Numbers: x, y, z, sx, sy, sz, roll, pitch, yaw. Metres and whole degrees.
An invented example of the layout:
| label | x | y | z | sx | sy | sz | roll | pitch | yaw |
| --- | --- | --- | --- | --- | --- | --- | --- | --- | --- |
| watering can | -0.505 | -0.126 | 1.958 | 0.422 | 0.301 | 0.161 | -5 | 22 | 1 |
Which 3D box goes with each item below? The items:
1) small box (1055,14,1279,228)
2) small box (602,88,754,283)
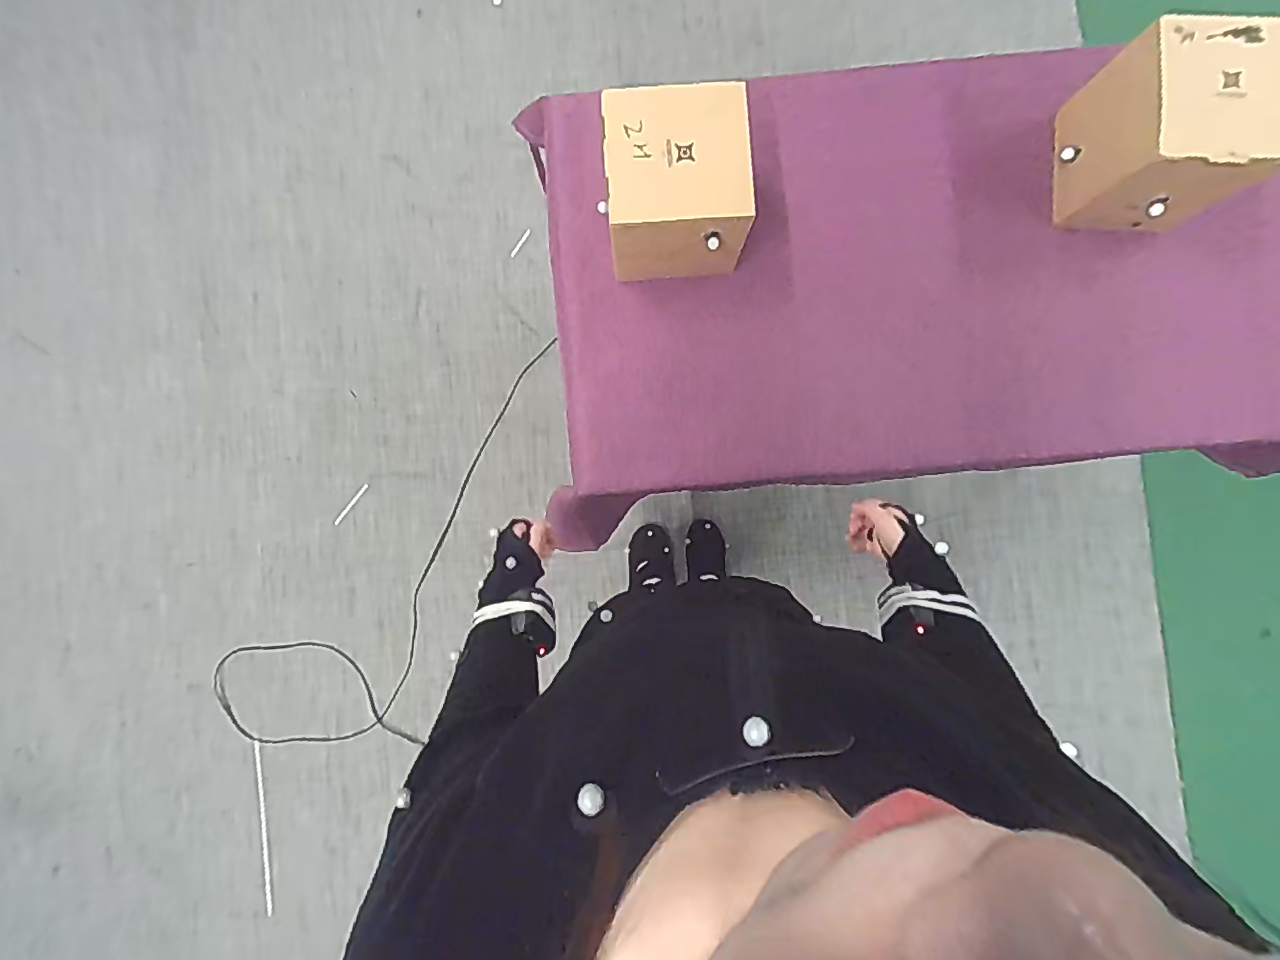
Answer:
| label | x | y | z | sx | sy | sz | roll | pitch | yaw |
| --- | --- | --- | --- | --- | --- | --- | --- | --- | --- |
| small box | 0.685 | -0.453 | 0.708 | 0.168 | 0.176 | 0.179 | 3 | 88 | 1 |
| small box | 0.045 | -0.379 | 0.723 | 0.179 | 0.176 | 0.168 | -4 | 87 | 1 |
